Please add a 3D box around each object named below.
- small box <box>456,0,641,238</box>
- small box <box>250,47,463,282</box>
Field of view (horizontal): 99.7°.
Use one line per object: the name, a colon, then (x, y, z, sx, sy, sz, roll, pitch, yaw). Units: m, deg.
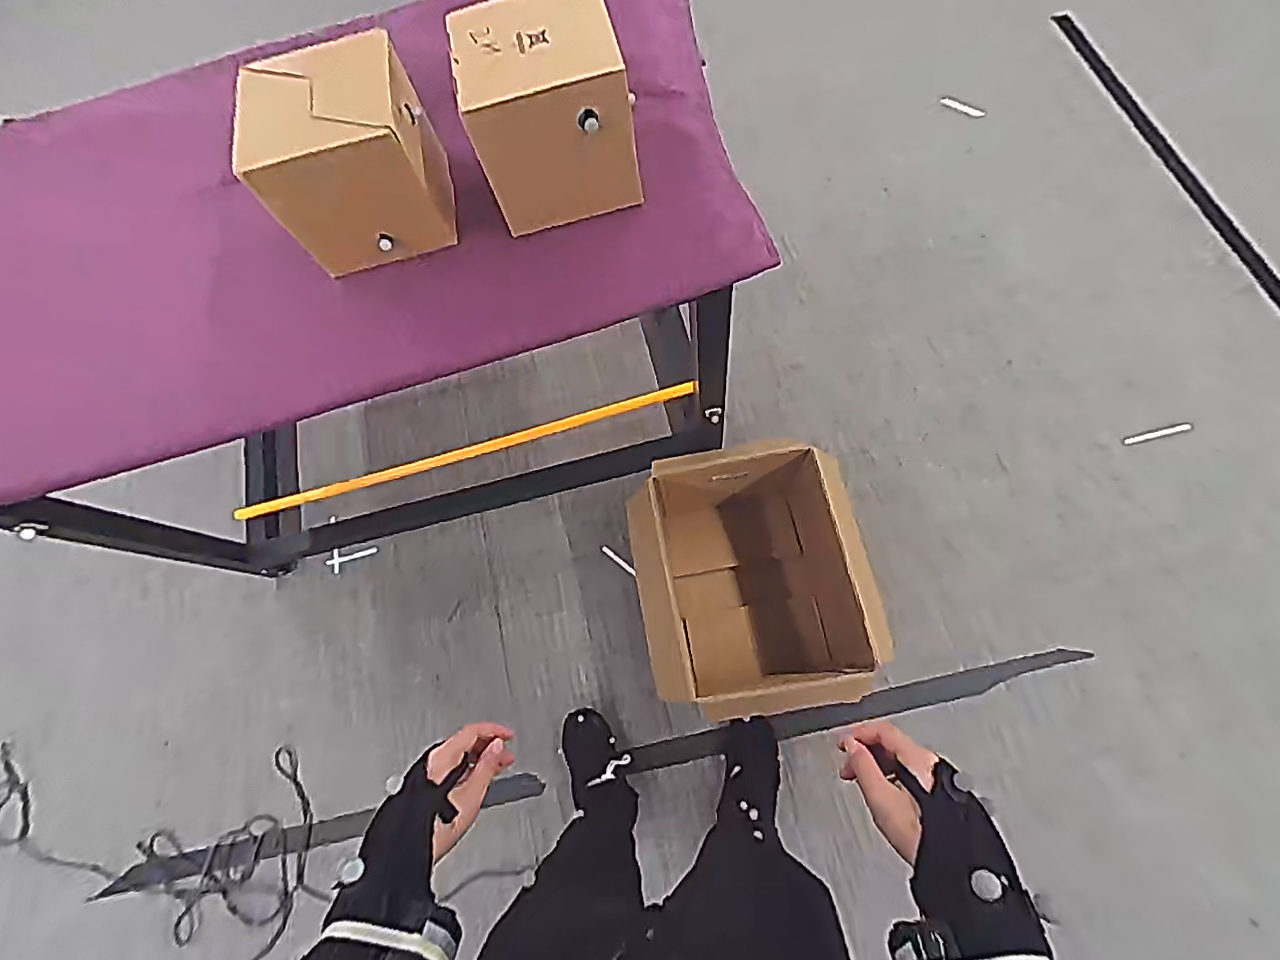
small box: (-0.100, -0.429, 0.652, 0.179, 0.176, 0.168, -14, 68, 2)
small box: (-0.341, -0.380, 0.663, 0.179, 0.176, 0.168, -14, 69, 3)
